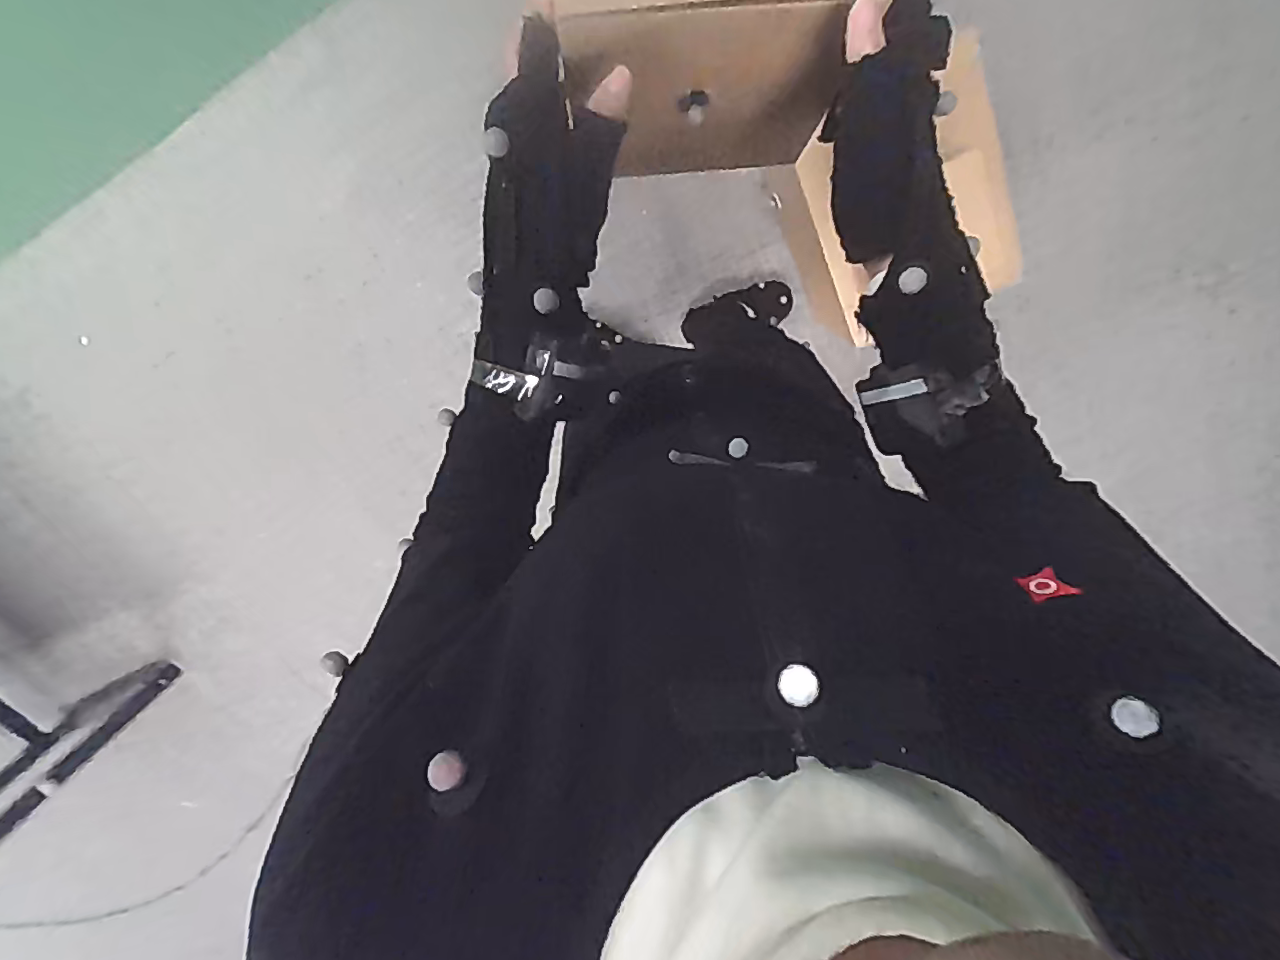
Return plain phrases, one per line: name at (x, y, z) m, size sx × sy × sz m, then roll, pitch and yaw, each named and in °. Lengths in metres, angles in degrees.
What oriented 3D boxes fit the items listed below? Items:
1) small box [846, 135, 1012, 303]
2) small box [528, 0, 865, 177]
small box at (0.447, -0.408, 0.860) m, size 0.168 × 0.176 × 0.179 m, roll -22°, pitch 113°, yaw 16°
small box at (0.023, -0.323, 0.345) m, size 0.179 × 0.176 × 0.168 m, roll -6°, pitch 93°, yaw 2°
